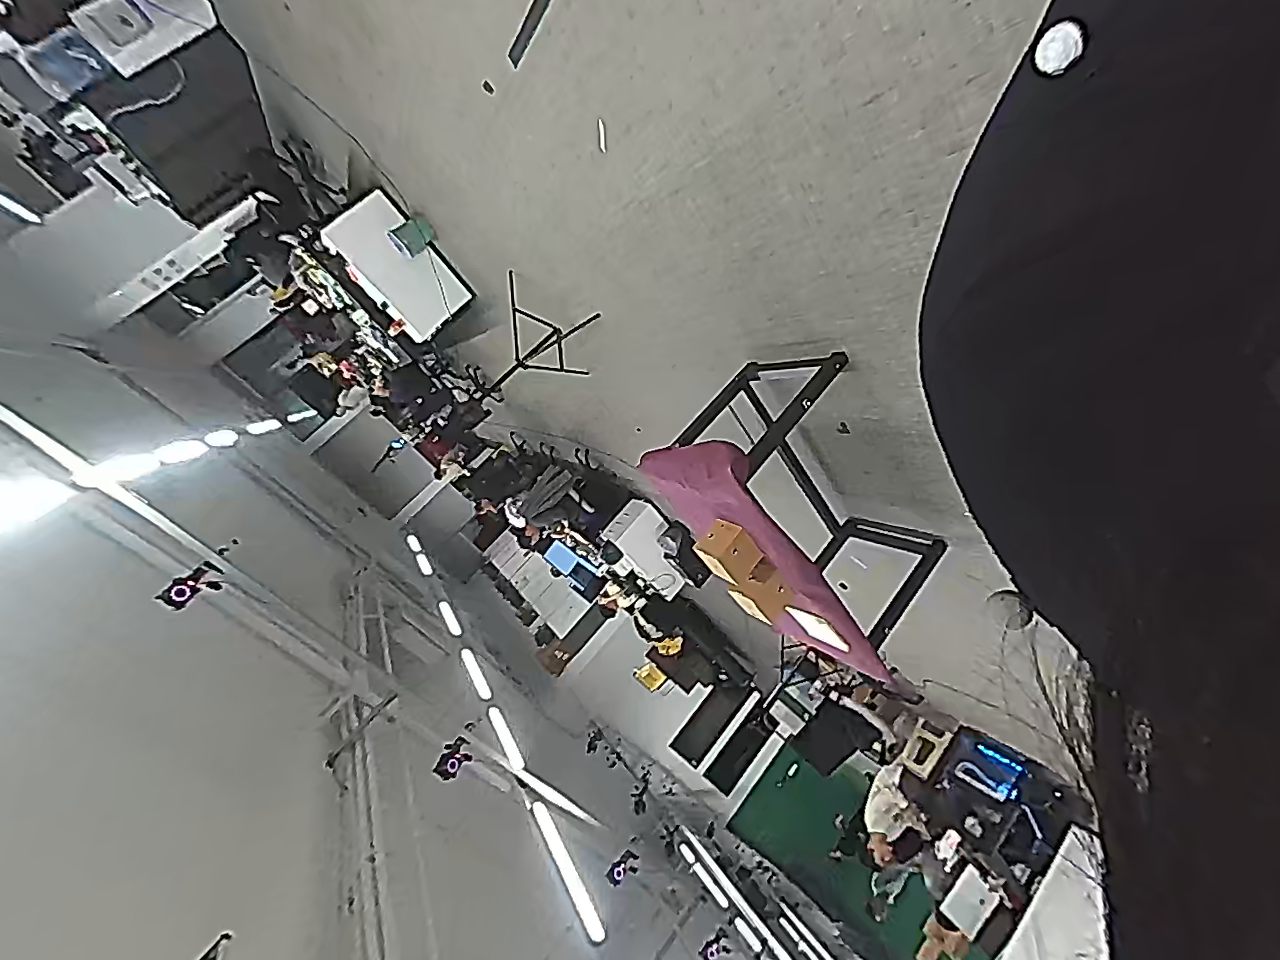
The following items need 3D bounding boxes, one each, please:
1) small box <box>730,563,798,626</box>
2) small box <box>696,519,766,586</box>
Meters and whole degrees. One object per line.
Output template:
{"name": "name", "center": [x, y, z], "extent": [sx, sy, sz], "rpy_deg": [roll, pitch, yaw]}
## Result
{"name": "small box", "center": [0.516, 0.465, 2.242], "extent": [0.179, 0.176, 0.168], "rpy_deg": [50, 164, -24]}
{"name": "small box", "center": [0.359, 0.280, 2.132], "extent": [0.179, 0.176, 0.168], "rpy_deg": [48, 166, -27]}
